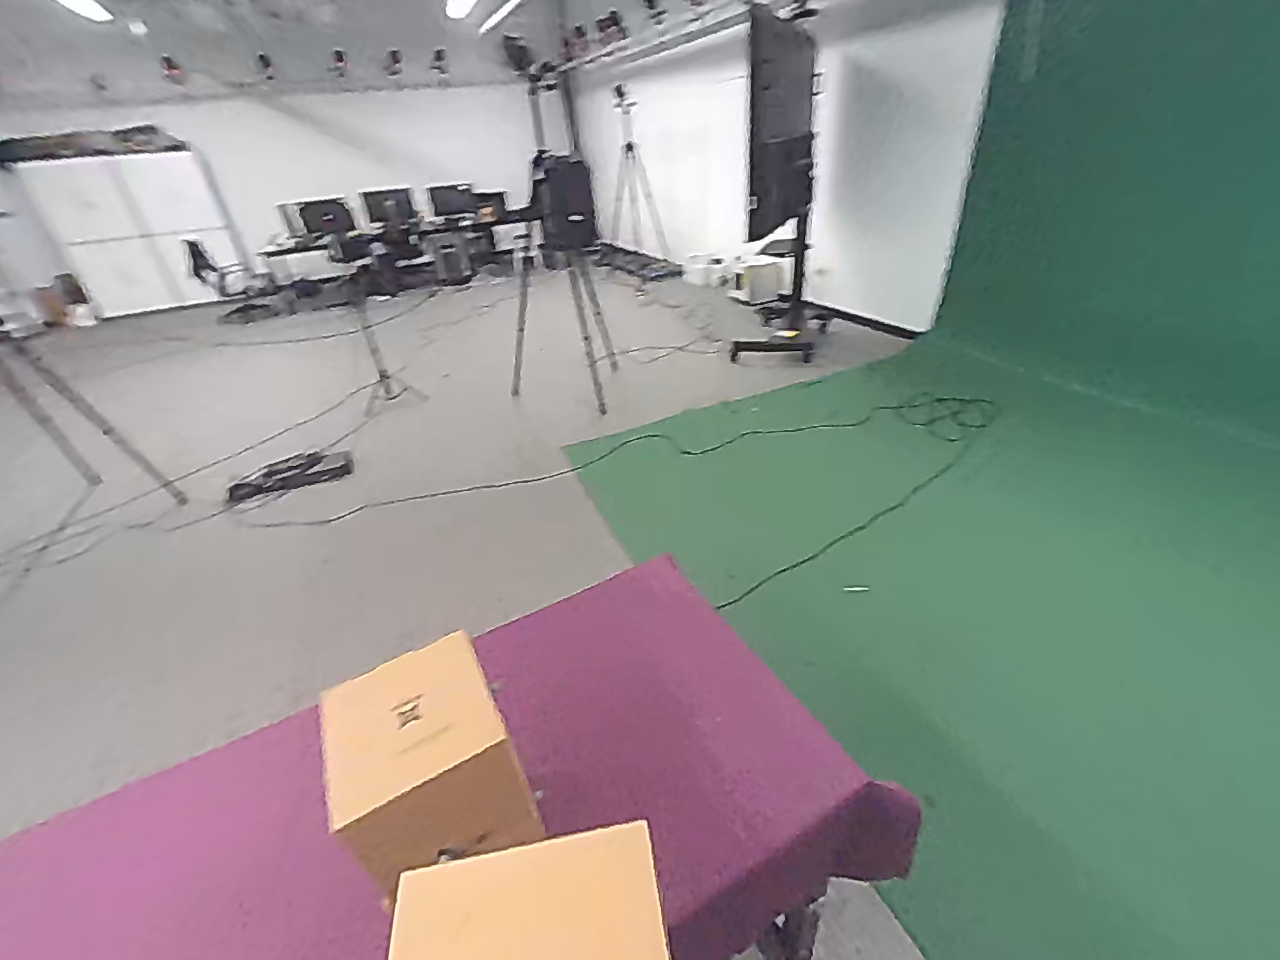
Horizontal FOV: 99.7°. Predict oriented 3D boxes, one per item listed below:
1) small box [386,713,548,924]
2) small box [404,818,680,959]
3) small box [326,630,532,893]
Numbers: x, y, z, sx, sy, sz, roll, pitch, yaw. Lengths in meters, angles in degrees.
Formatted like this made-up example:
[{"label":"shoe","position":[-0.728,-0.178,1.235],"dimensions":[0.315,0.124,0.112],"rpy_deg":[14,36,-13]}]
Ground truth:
[{"label":"small box","position":[-0.225,0.455,0.711],"dimensions":[0.179,0.176,0.168],"rpy_deg":[-20,35,-22]},{"label":"small box","position":[-0.052,0.360,0.356],"dimensions":[0.168,0.176,0.179],"rpy_deg":[-8,42,-5]},{"label":"small box","position":[-0.241,0.317,0.625],"dimensions":[0.168,0.176,0.179],"rpy_deg":[-22,36,-22]}]
